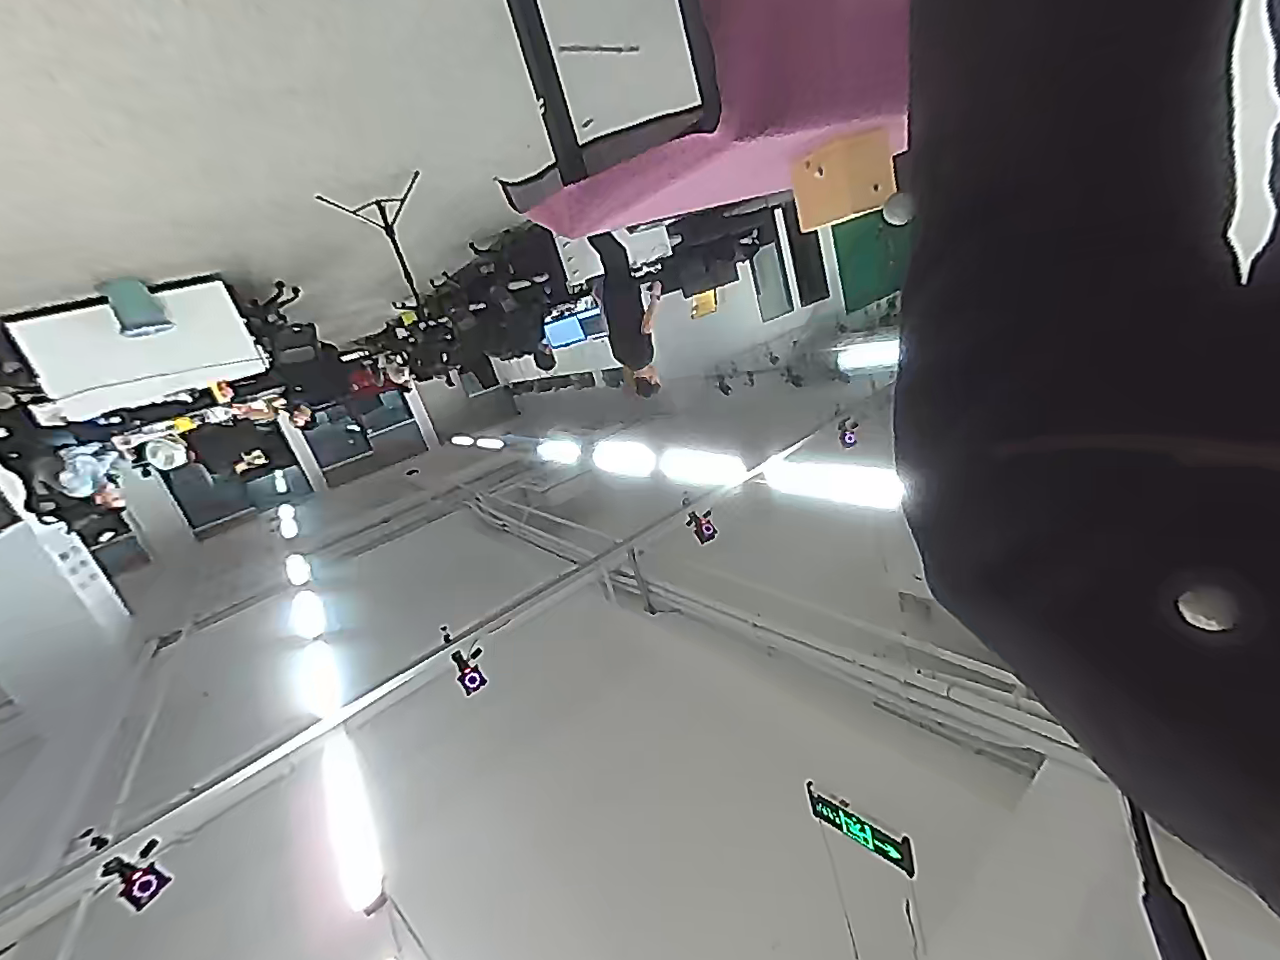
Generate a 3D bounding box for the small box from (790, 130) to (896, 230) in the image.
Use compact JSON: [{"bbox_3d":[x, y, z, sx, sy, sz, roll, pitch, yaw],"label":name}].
[{"bbox_3d":[0.503,-0.745,1.343,0.179,0.176,0.168,-26,-161,-25],"label":"small box"}]
